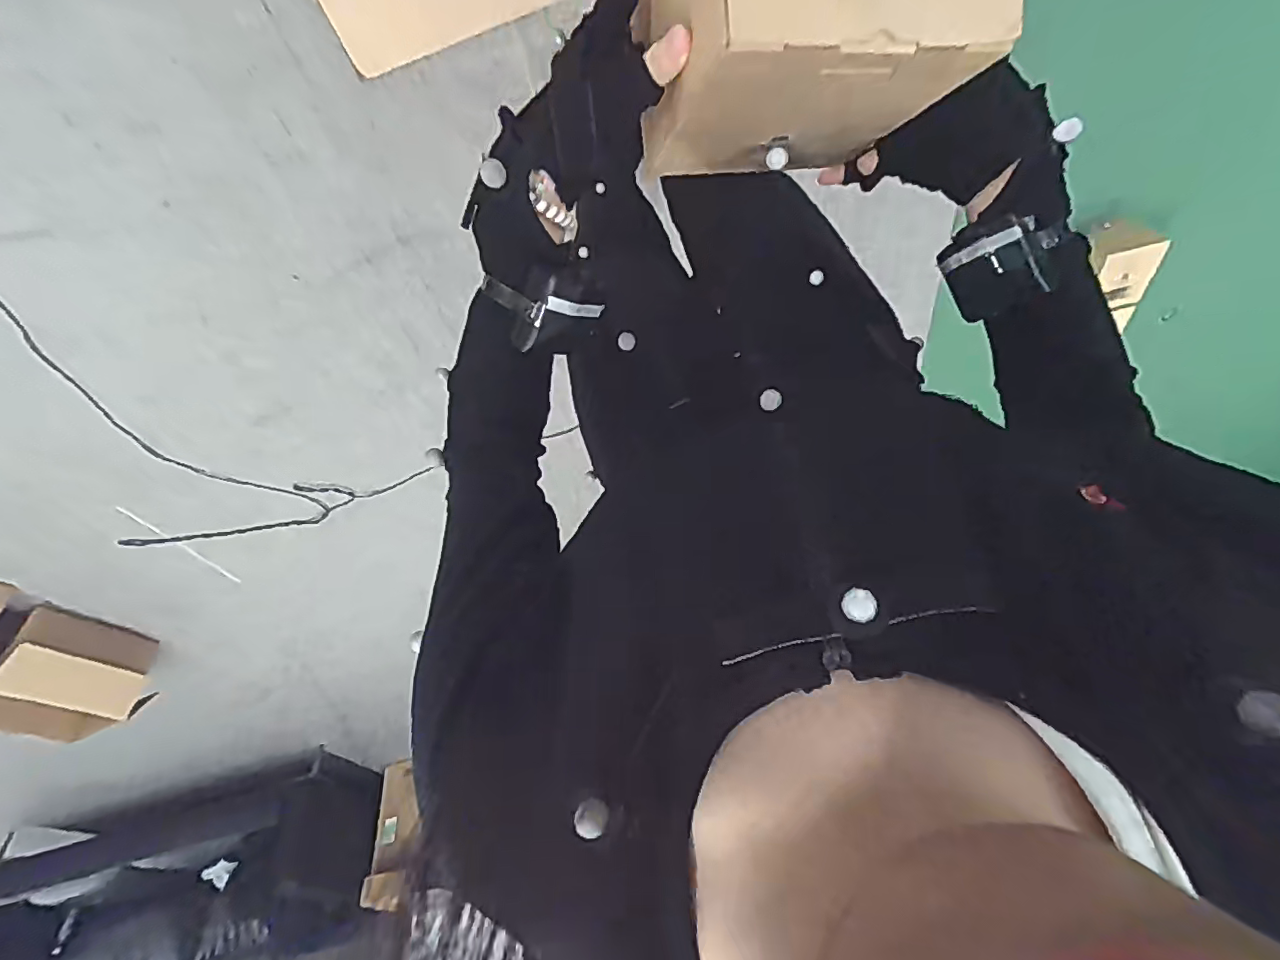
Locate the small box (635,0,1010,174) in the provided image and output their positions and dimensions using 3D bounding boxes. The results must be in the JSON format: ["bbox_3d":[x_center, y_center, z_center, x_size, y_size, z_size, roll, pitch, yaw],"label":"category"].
[{"bbox_3d":[0.093,-0.317,0.337,0.168,0.176,0.179,-8,103,-10],"label":"small box"}]
